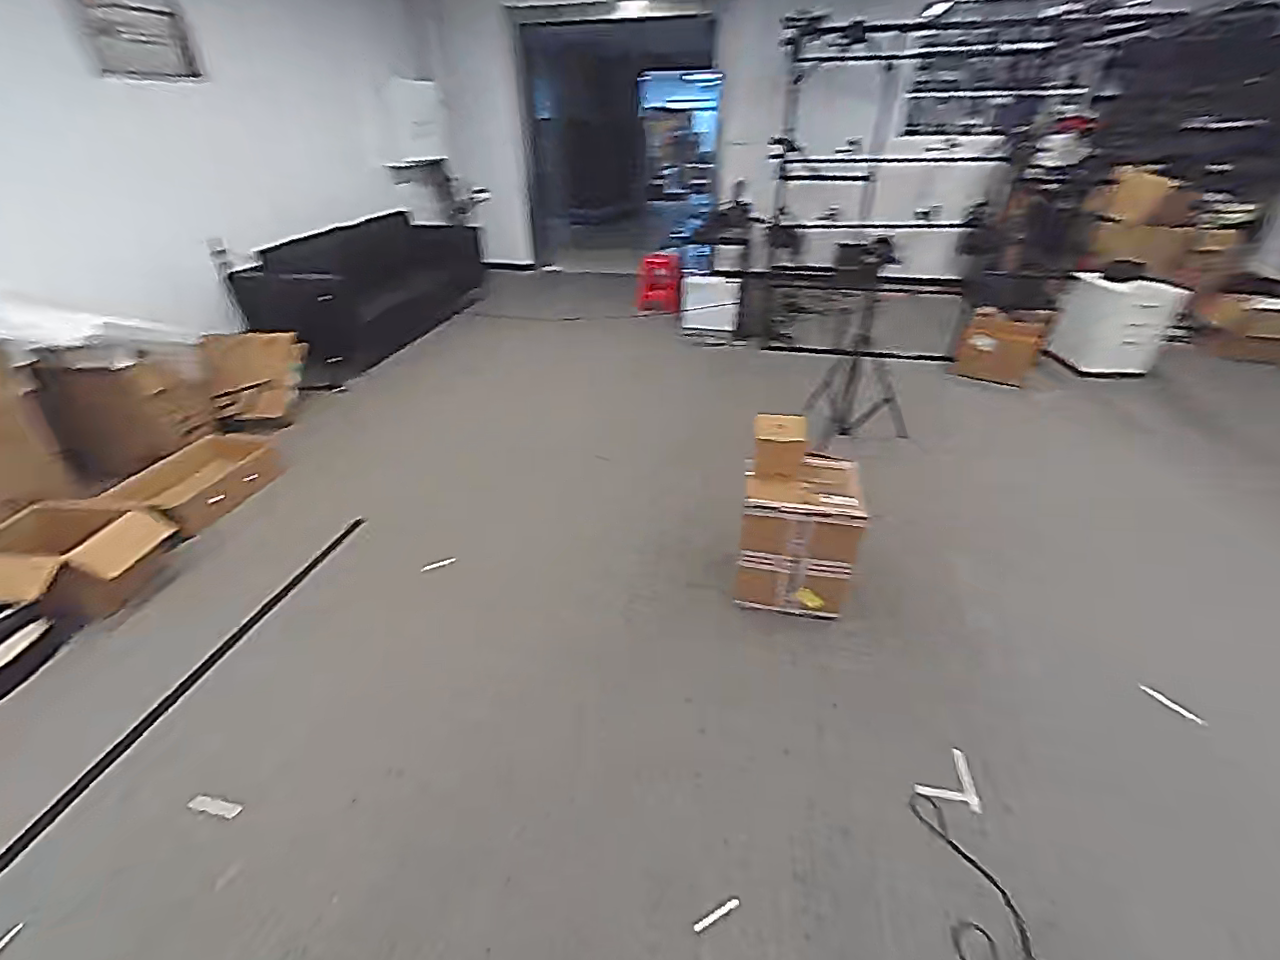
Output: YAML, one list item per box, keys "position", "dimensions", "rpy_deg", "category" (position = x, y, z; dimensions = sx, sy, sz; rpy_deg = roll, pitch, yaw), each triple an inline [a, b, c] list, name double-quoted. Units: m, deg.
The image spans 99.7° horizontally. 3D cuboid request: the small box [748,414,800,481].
- position: [0.474, -0.117, 1.929]
  dimensions: [0.168, 0.176, 0.179]
  rpy_deg: [4, 36, 10]
  category: "small box"
